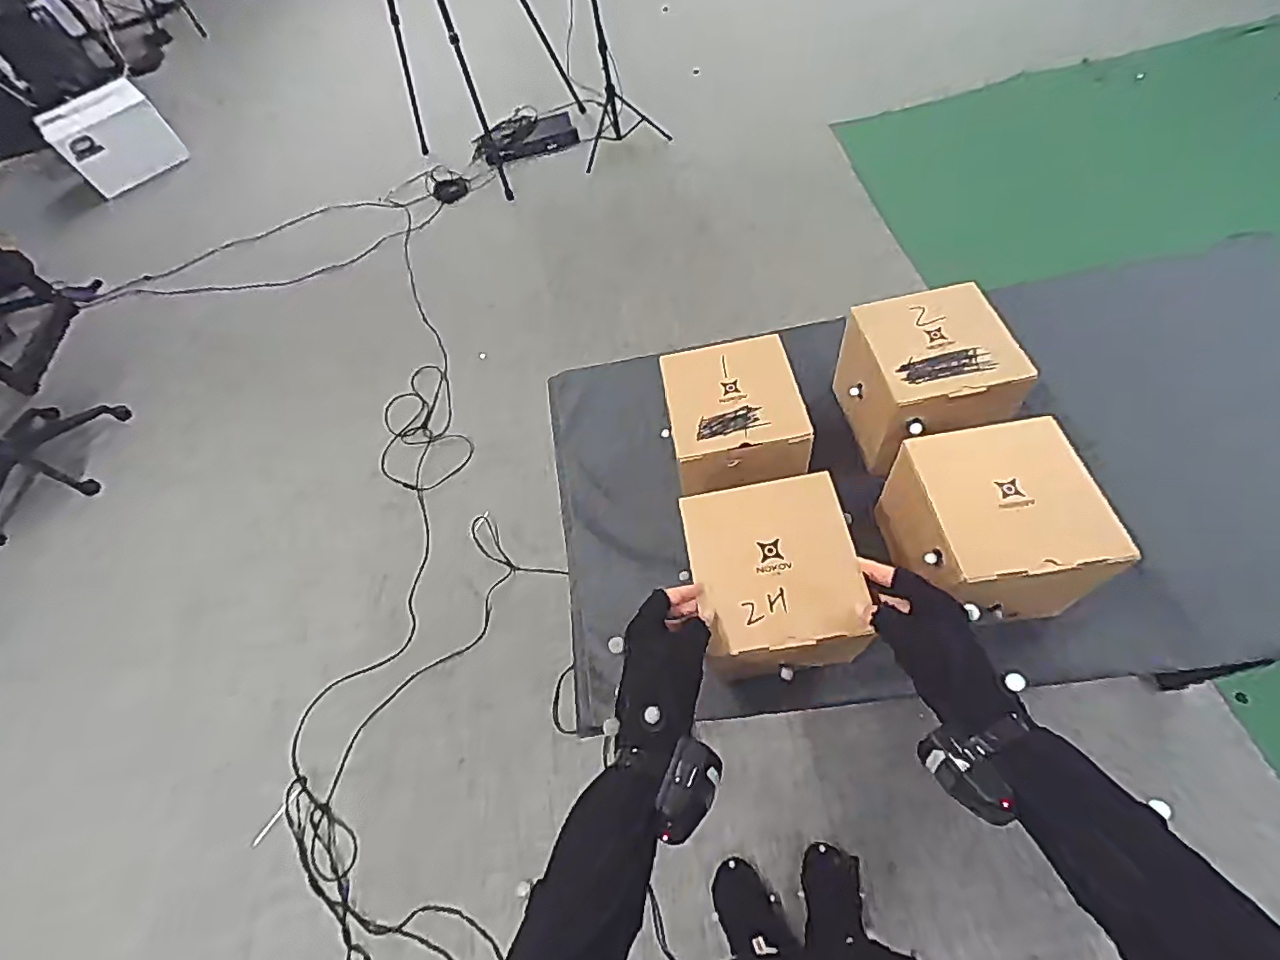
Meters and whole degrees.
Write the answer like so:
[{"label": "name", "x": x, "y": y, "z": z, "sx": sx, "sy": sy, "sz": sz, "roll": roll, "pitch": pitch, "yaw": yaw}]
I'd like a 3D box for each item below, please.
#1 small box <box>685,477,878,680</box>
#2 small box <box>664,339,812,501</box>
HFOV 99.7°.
[{"label": "small box", "x": 0.150, "y": 0.122, "z": 0.629, "sx": 0.168, "sy": 0.176, "sz": 0.179, "roll": -11, "pitch": 62, "yaw": 5}, {"label": "small box", "x": 0.134, "y": -0.064, "z": 0.762, "sx": 0.168, "sy": 0.176, "sz": 0.179, "roll": -10, "pitch": 57, "yaw": 4}]
